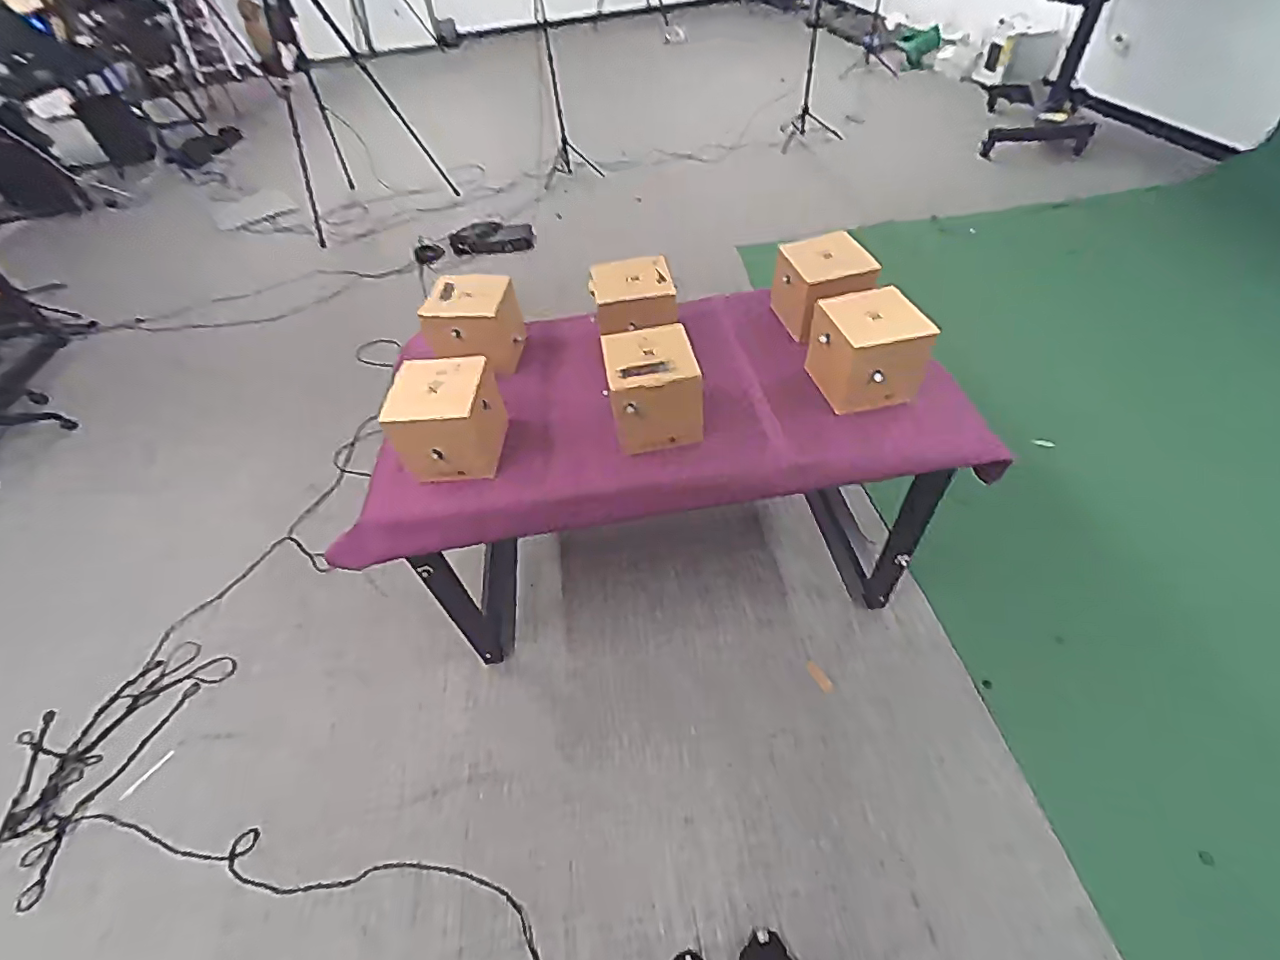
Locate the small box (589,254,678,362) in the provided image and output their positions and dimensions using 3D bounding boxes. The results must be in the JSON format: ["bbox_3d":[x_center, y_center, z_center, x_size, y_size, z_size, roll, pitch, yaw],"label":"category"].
[{"bbox_3d":[-0.013,-0.393,1.251,0.179,0.176,0.168,-10,51,-1],"label":"small box"}]

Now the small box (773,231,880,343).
[{"bbox_3d":[0.418,-0.444,1.249,0.168,0.176,0.179,-13,51,-3],"label":"small box"}]

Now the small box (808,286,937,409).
[{"bbox_3d":[0.455,-0.259,1.087,0.168,0.176,0.179,-11,47,-3],"label":"small box"}]

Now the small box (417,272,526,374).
[{"bbox_3d":[-0.382,-0.363,1.261,0.179,0.176,0.168,2,51,5],"label":"small box"}]

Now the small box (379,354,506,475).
[{"bbox_3d":[-0.370,-0.121,1.053,0.168,0.176,0.179,-2,49,3],"label":"small box"}]
